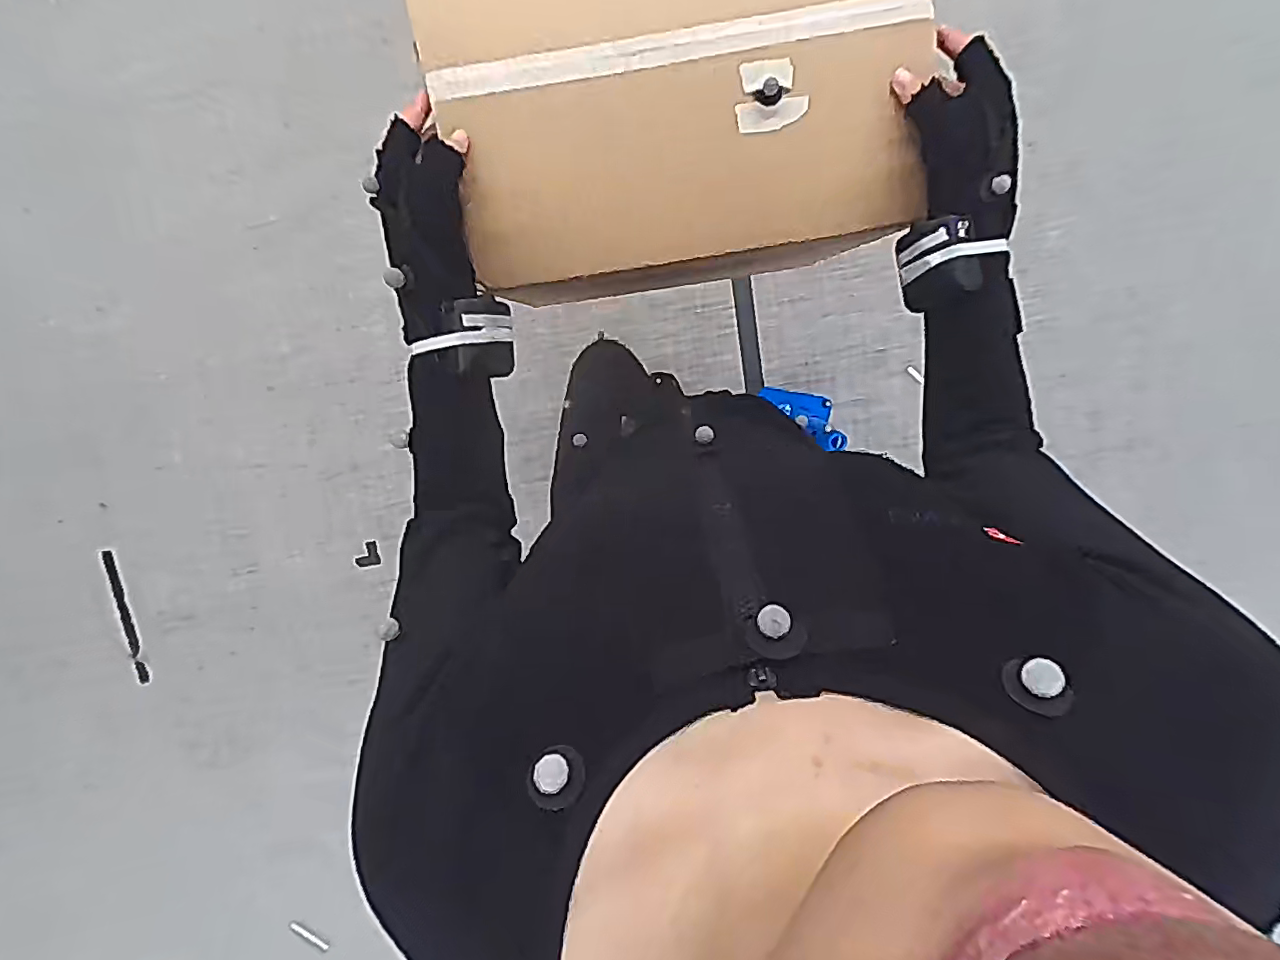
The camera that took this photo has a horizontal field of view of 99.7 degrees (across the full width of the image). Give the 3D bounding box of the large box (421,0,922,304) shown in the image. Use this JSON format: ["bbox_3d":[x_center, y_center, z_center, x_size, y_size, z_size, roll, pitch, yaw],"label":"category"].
[{"bbox_3d":[0.024,-0.391,0.587,0.408,0.320,0.320,-9,105,0],"label":"large box"}]

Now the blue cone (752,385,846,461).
[{"bbox_3d":[0.404,-0.127,1.294,0.193,0.380,0.192,11,99,-2],"label":"blue cone"}]
